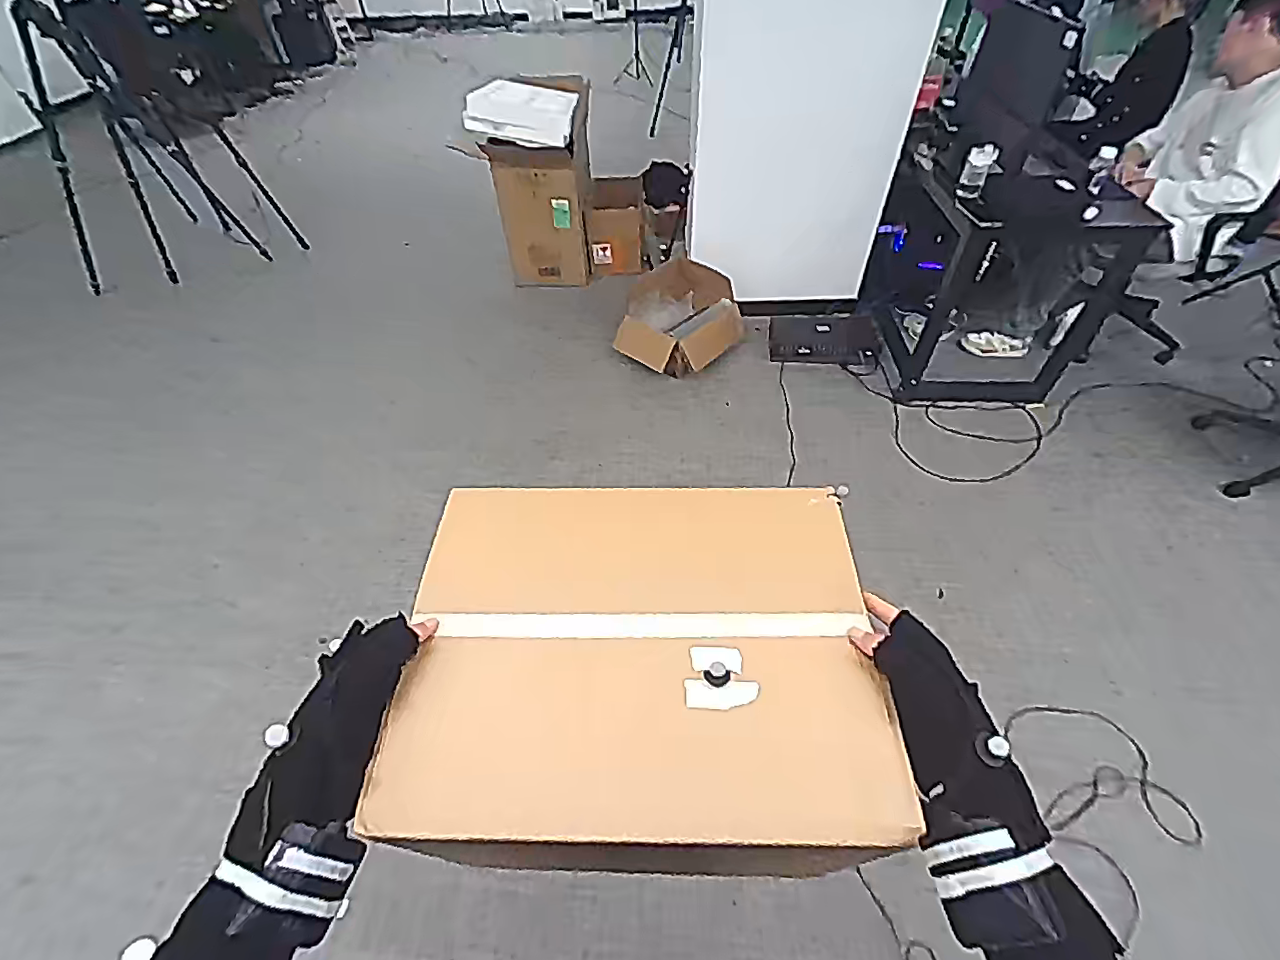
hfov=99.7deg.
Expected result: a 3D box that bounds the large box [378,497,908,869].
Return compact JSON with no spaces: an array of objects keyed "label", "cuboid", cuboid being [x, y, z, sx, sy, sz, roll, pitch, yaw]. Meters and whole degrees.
[{"label":"large box","cuboid":[0.003,0.232,0.606,0.408,0.320,0.320,0,51,2]}]
